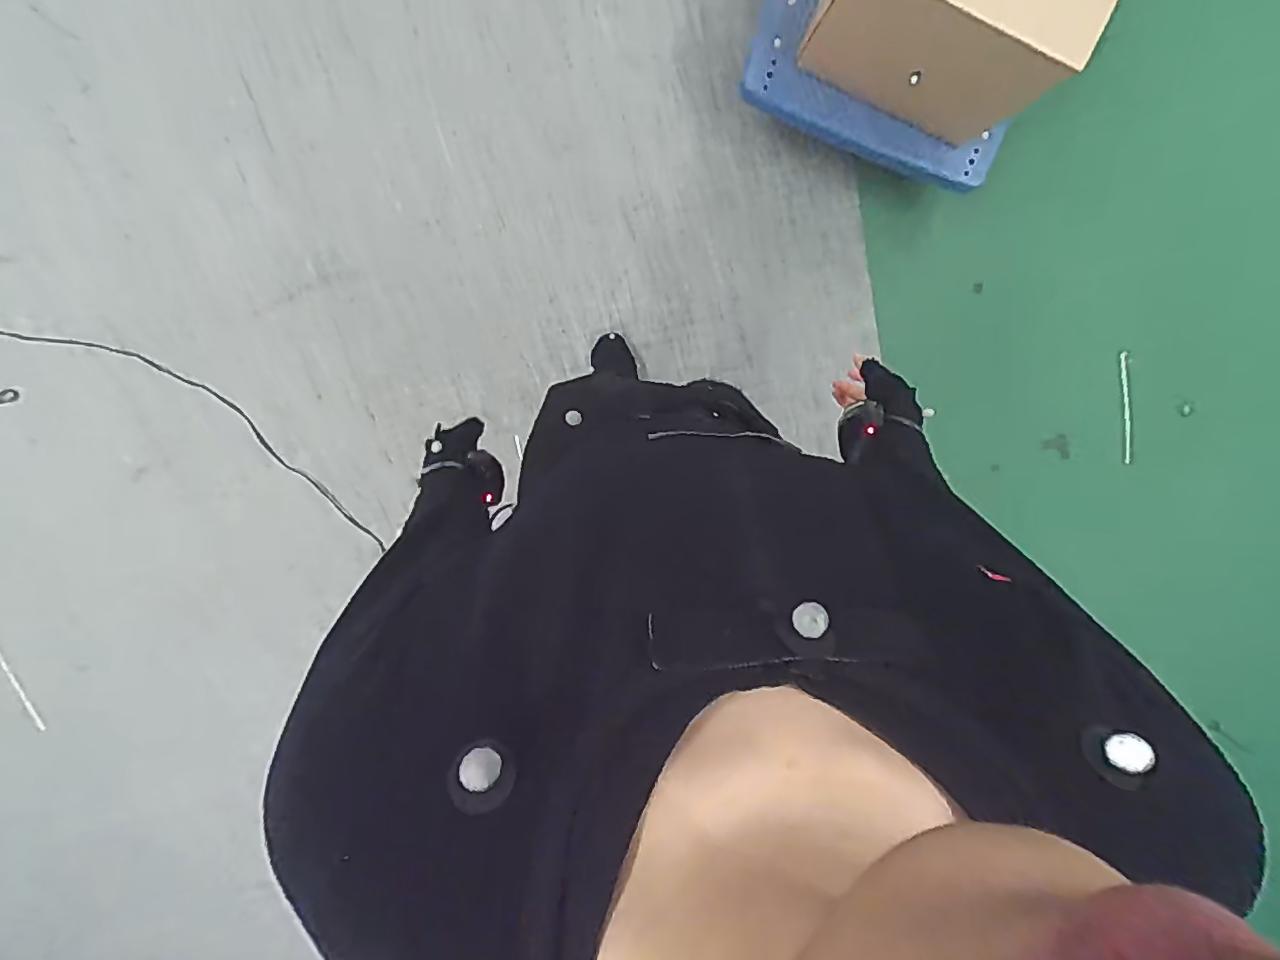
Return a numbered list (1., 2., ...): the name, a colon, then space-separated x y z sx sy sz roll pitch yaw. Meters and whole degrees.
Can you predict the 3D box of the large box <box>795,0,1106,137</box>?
1. large box: 0.558 -0.894 0.958 0.408 0.320 0.320 20 100 -7
